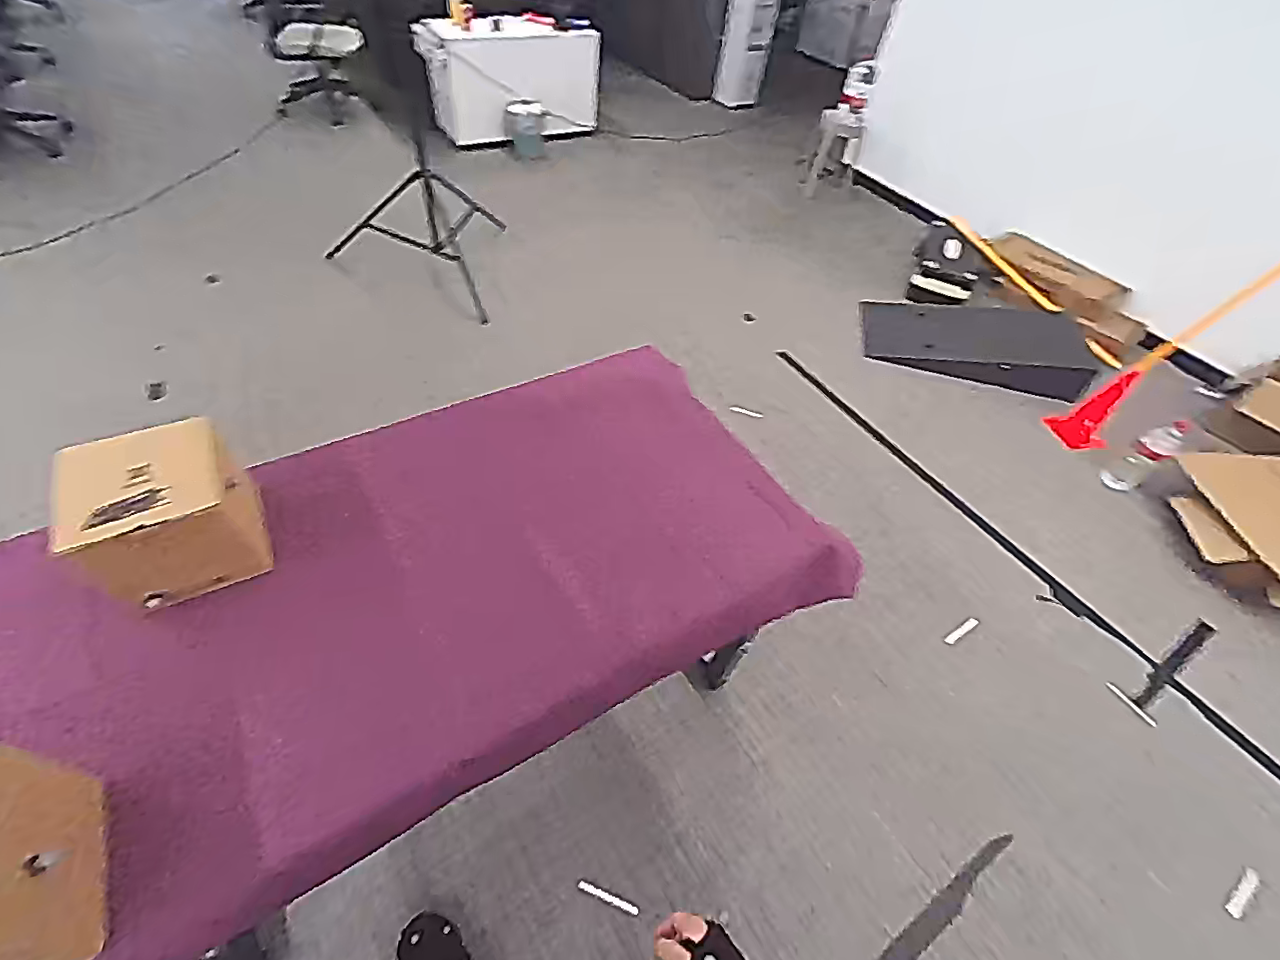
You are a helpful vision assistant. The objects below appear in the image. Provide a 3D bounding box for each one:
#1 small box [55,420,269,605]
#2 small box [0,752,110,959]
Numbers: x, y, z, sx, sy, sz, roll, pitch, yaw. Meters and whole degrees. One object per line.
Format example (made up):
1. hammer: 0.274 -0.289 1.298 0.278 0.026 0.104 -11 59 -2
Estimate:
1. small box: -0.650 0.052 0.753 0.168 0.176 0.179 -21 57 -23
2. small box: -0.627 0.380 0.485 0.168 0.176 0.179 -22 57 -24
